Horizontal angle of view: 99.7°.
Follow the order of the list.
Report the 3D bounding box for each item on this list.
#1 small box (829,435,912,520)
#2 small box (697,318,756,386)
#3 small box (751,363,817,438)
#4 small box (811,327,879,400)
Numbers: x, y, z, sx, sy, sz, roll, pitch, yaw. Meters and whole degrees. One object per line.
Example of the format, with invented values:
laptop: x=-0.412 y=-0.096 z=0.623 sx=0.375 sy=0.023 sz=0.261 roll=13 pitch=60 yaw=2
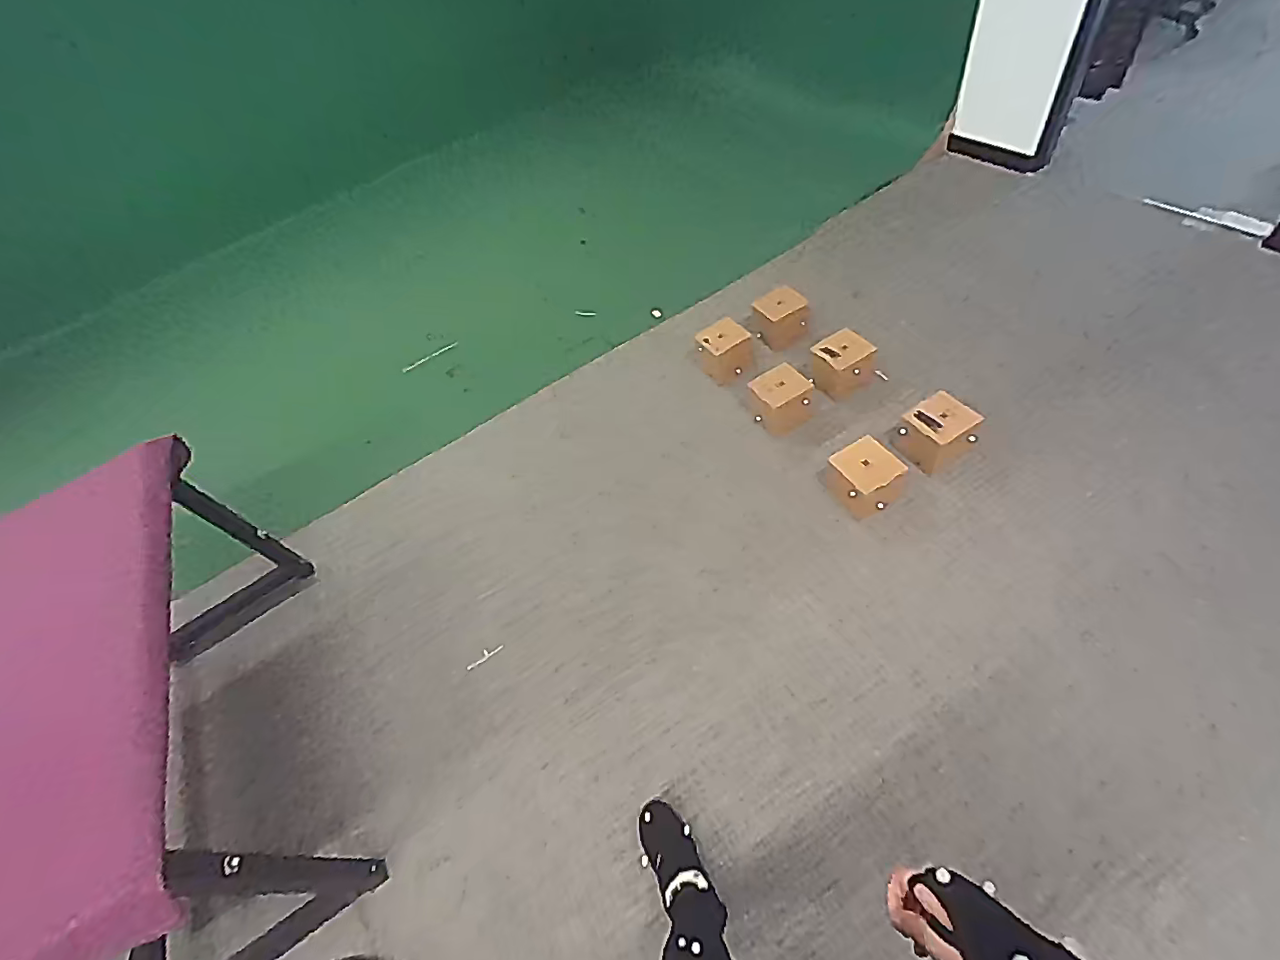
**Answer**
small box: x=0.723 y=-0.005 z=1.721 sx=0.168 sy=0.176 sz=0.179 roll=-31 pitch=53 yaw=-7
small box: x=0.354 y=-0.519 z=2.199 sx=0.179 sy=0.176 sz=0.168 roll=-31 pitch=52 yaw=-9
small box: x=0.525 y=-0.290 z=1.983 sx=0.179 sy=0.176 sz=0.168 roll=-31 pitch=52 yaw=-7
small box: x=0.762 y=-0.430 z=2.018 sx=0.179 sy=0.176 sz=0.168 roll=-30 pitch=53 yaw=-8
